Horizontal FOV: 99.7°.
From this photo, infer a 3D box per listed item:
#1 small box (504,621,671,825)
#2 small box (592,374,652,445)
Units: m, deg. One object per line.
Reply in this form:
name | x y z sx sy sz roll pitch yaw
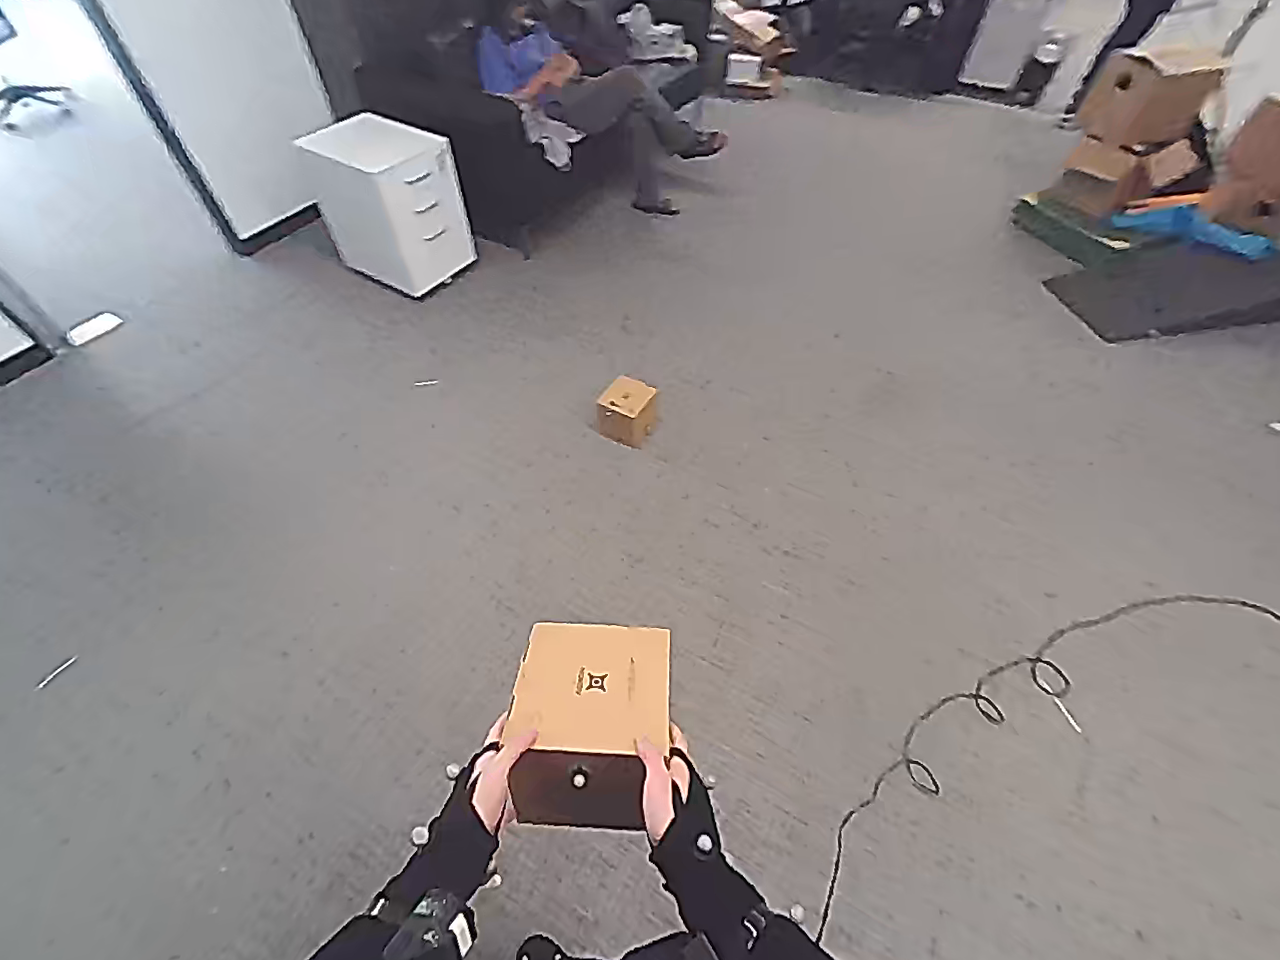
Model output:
small box | -0.054 0.297 0.664 0.179 0.176 0.168 4 35 1
small box | -0.069 -0.266 2.052 0.168 0.176 0.179 26 56 18
